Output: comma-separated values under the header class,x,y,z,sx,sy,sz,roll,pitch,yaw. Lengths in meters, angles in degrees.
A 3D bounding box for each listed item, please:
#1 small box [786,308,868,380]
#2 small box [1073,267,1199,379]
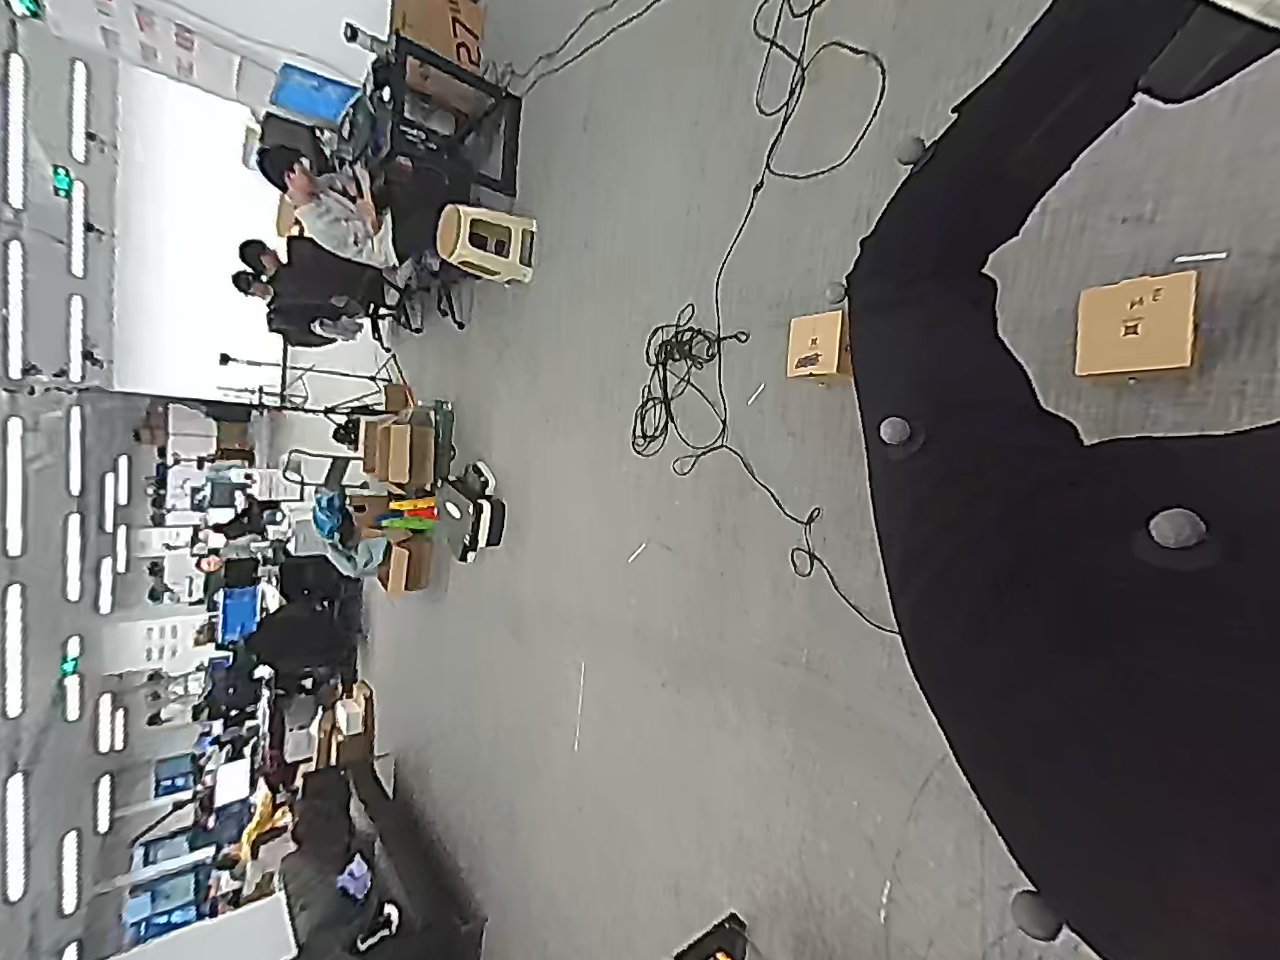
class,x,y,z,sx,sy,sz,roll,pitch,yaw
small box,0.552,-0.391,1.591,0.168,0.176,0.179,7,94,49
small box,0.990,-0.299,1.077,0.168,0.176,0.179,4,93,48
